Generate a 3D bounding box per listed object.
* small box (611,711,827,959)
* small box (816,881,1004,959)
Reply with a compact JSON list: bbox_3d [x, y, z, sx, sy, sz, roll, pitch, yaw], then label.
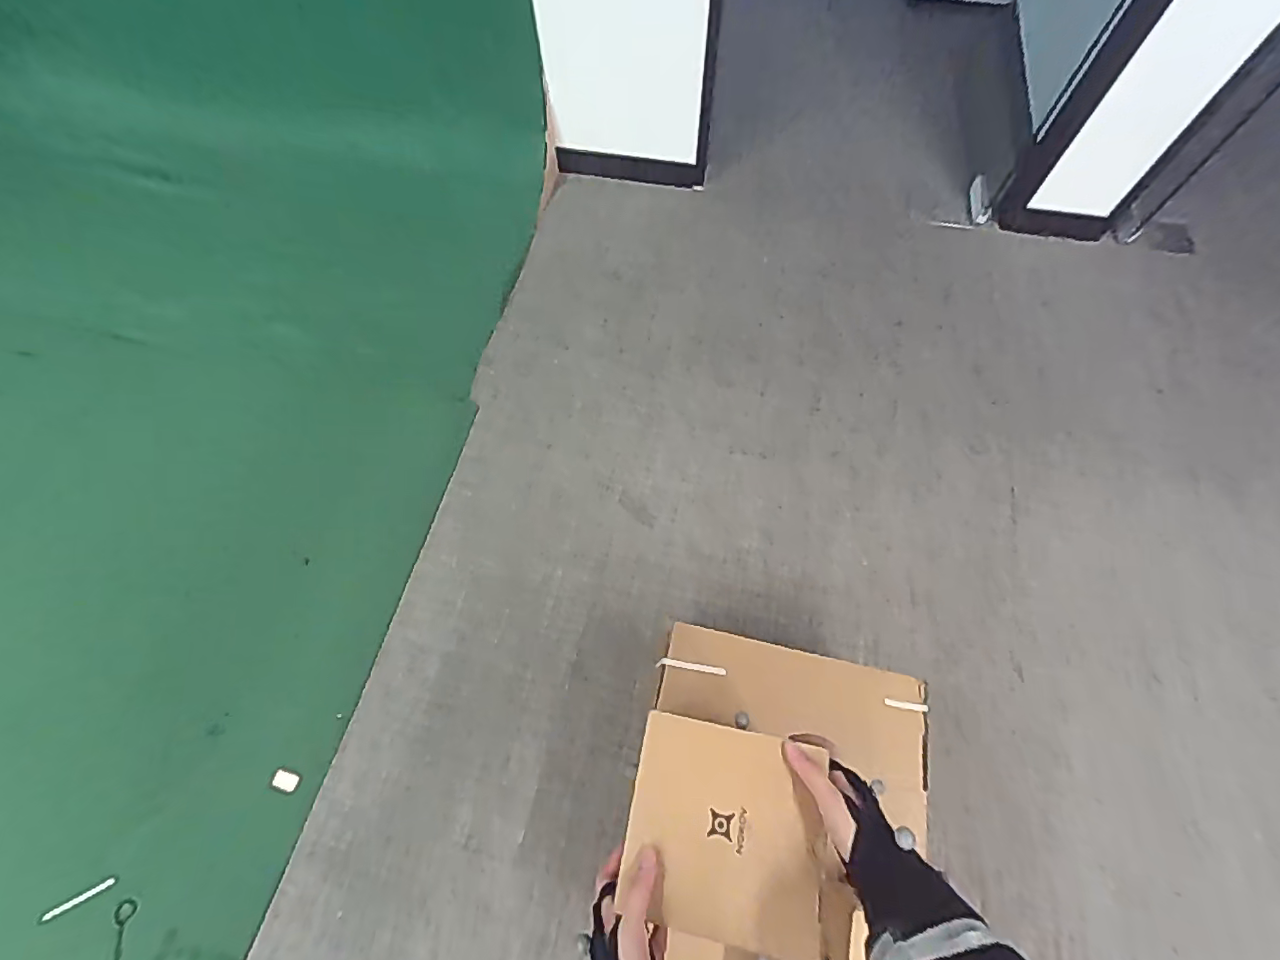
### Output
[{"bbox_3d":[0.078,0.347,0.556,0.179,0.176,0.168,10,65,6],"label":"small box"},{"bbox_3d":[0.283,0.592,0.613,0.168,0.176,0.179,15,64,7],"label":"small box"}]
